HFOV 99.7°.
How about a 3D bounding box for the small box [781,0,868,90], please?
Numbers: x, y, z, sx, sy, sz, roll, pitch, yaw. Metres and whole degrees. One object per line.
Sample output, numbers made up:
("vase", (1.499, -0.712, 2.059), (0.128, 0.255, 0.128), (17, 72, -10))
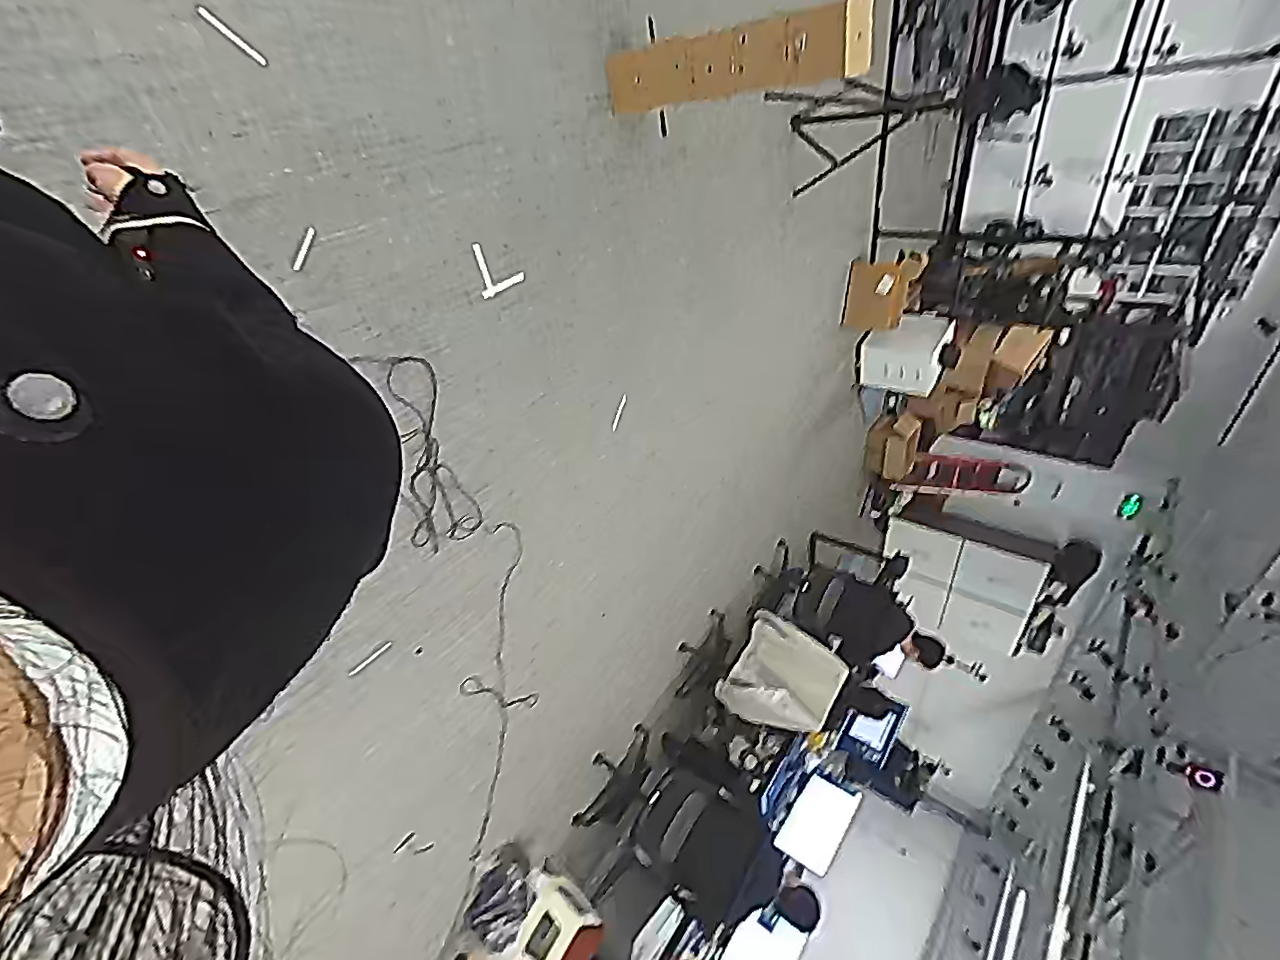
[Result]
("small box", (0.500, -1.187, 1.474), (0.179, 0.176, 0.168), (-42, 135, -33))

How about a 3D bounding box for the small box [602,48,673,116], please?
("small box", (-0.006, -1.362, 1.849), (0.168, 0.176, 0.179), (-42, 136, -34))

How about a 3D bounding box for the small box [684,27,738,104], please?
("small box", (0.247, -1.272, 1.661), (0.179, 0.176, 0.168), (-40, 134, -35))

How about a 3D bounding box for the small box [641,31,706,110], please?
("small box", (0.118, -1.322, 1.748), (0.168, 0.176, 0.179), (-39, 134, -36))

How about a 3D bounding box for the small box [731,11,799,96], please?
("small box", (0.375, -1.232, 1.566), (0.179, 0.176, 0.168), (-42, 135, -36))
